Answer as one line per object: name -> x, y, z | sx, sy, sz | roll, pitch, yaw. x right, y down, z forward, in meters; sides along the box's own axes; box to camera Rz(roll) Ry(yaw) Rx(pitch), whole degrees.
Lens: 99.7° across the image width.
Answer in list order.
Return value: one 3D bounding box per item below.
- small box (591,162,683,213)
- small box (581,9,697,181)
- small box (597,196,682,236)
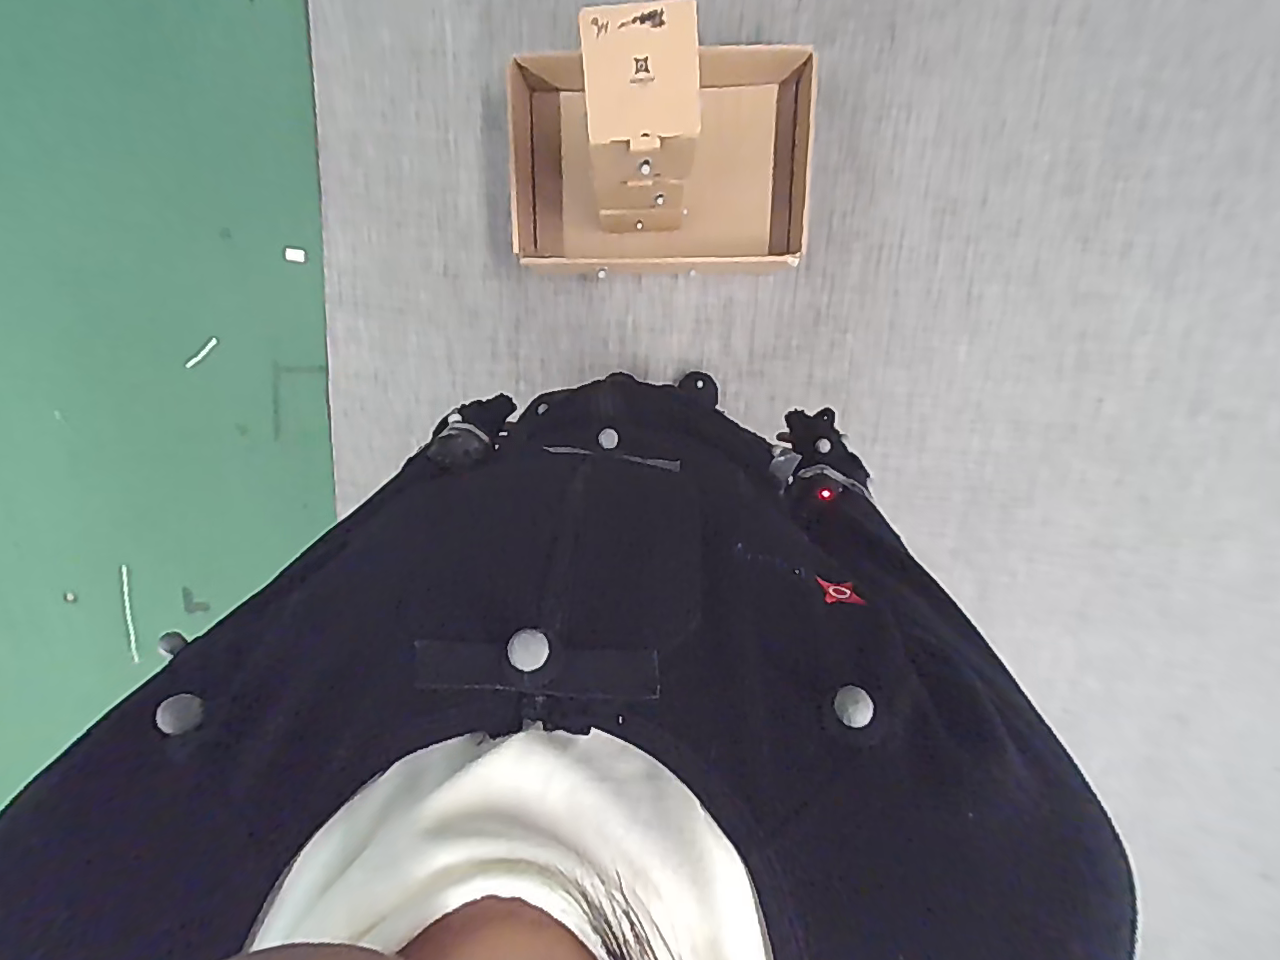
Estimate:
small box -> -0.001, -0.613, 1.011 | 0.168, 0.176, 0.179 | 0, 100, 0
small box -> 0.002, -0.586, 0.849 | 0.168, 0.176, 0.179 | -2, 102, 1
small box -> 0.002, -0.636, 1.170 | 0.179, 0.176, 0.168 | 0, 101, 4
